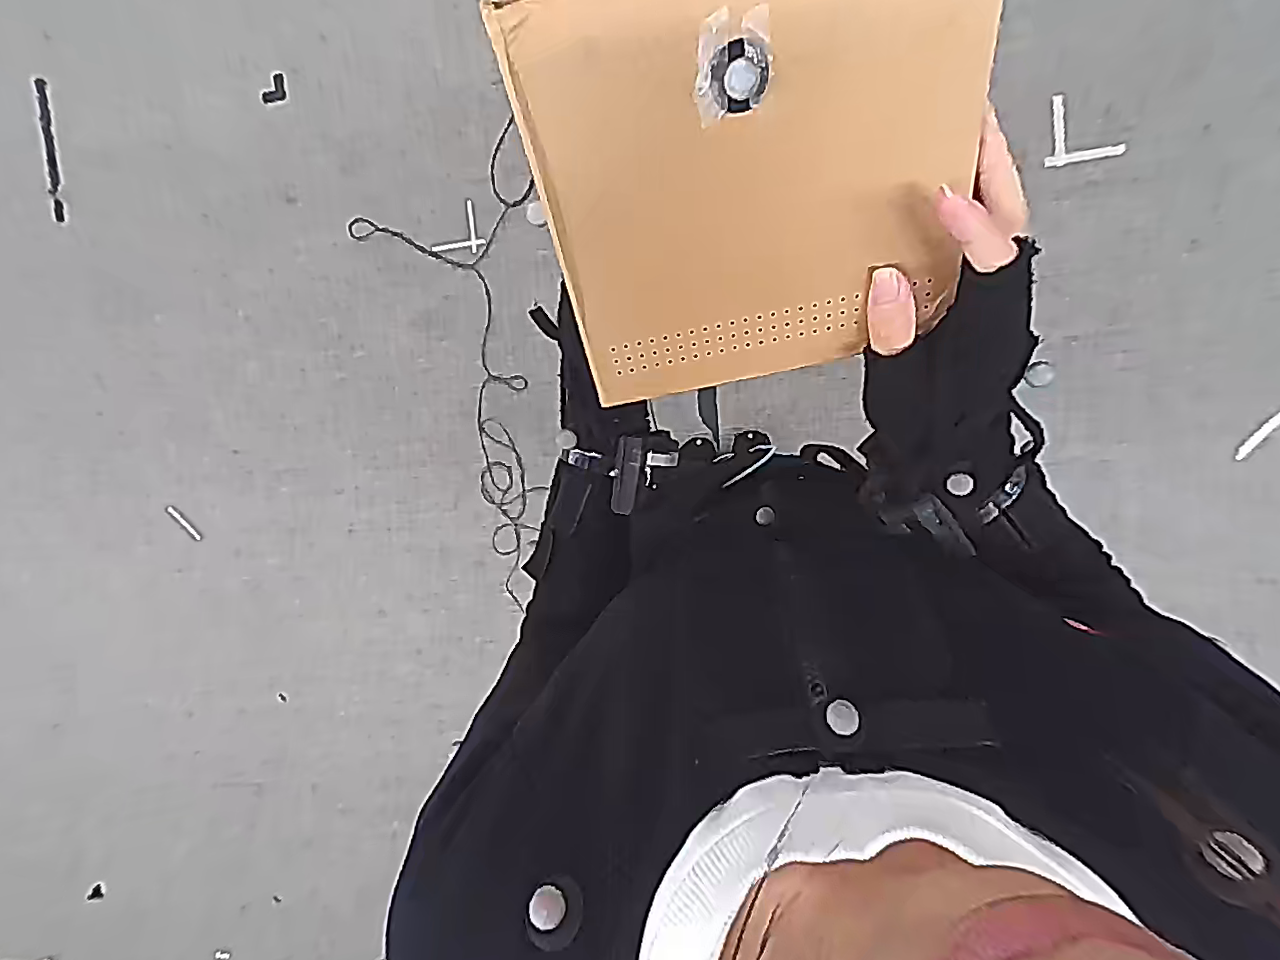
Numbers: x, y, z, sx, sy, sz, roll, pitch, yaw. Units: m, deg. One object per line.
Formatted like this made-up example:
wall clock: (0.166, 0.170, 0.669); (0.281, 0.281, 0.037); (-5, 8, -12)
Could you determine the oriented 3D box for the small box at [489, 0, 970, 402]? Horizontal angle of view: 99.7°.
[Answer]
small box: (0.047, -0.160, 0.288); (0.179, 0.168, 0.176); (-11, 129, 6)
